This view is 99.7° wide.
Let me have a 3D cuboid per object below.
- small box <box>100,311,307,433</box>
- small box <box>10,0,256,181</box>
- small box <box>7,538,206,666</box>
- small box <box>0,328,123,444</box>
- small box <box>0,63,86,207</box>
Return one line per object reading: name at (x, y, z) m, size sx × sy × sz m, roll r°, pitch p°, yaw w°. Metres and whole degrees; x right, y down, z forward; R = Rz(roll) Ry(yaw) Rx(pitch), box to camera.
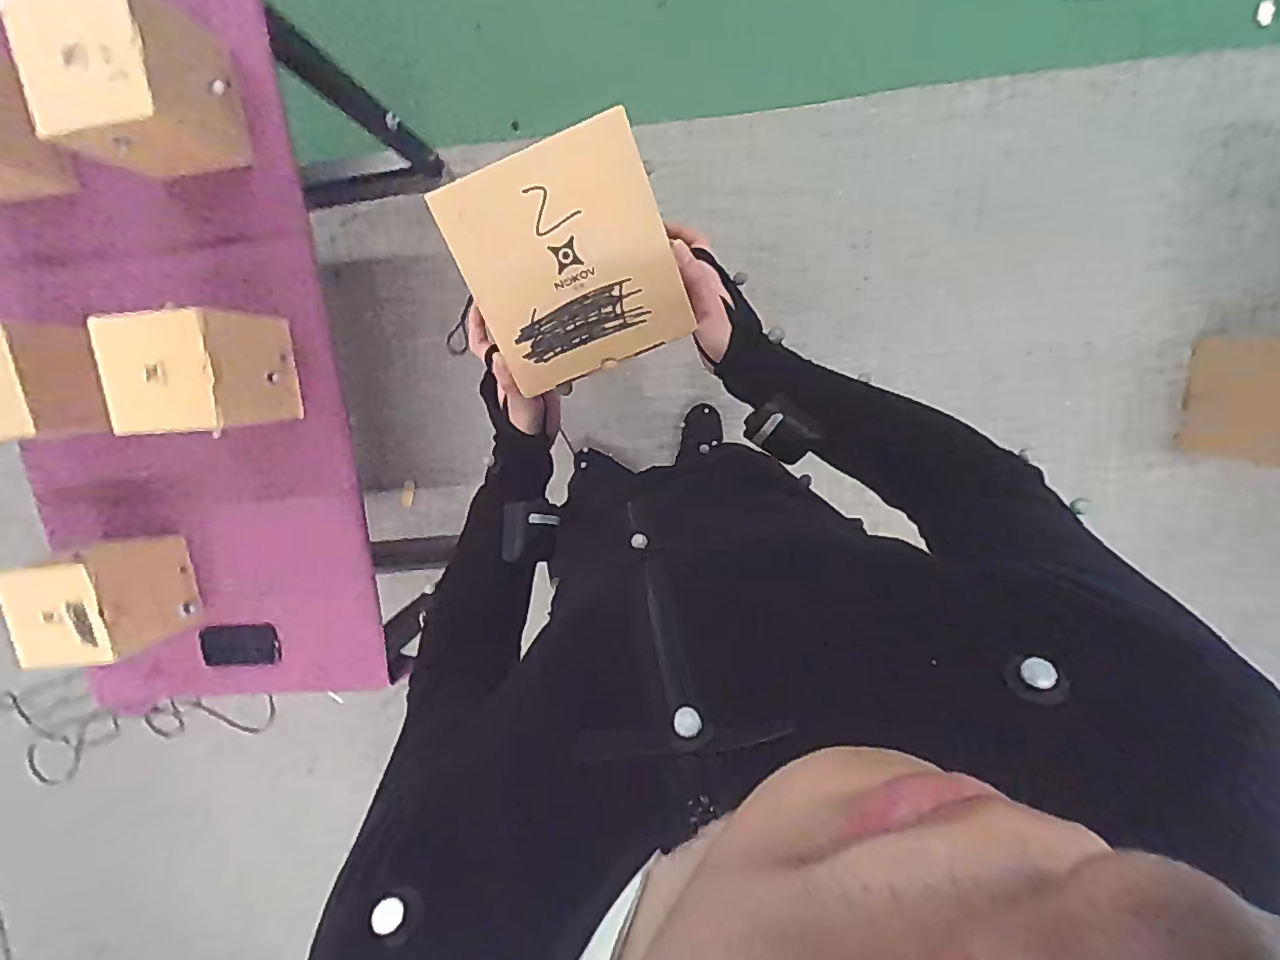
small box at (-0.672, -0.165, 0.852) m, size 0.179 × 0.176 × 0.168 m, roll -3°, pitch 100°, yaw 7°
small box at (-0.710, -0.553, 0.778) m, size 0.179 × 0.176 × 0.168 m, roll -6°, pitch 101°, yaw 6°
small box at (-0.910, 0.205, 0.946) m, size 0.179 × 0.176 × 0.168 m, roll -5°, pitch 100°, yaw 7°
small box at (-0.976, -0.149, 0.887) m, size 0.179 × 0.176 × 0.168 m, roll -6°, pitch 101°, yaw 6°
small box at (-1.016, -0.530, 0.817) m, size 0.179 × 0.176 × 0.168 m, roll -4°, pitch 101°, yaw 7°
